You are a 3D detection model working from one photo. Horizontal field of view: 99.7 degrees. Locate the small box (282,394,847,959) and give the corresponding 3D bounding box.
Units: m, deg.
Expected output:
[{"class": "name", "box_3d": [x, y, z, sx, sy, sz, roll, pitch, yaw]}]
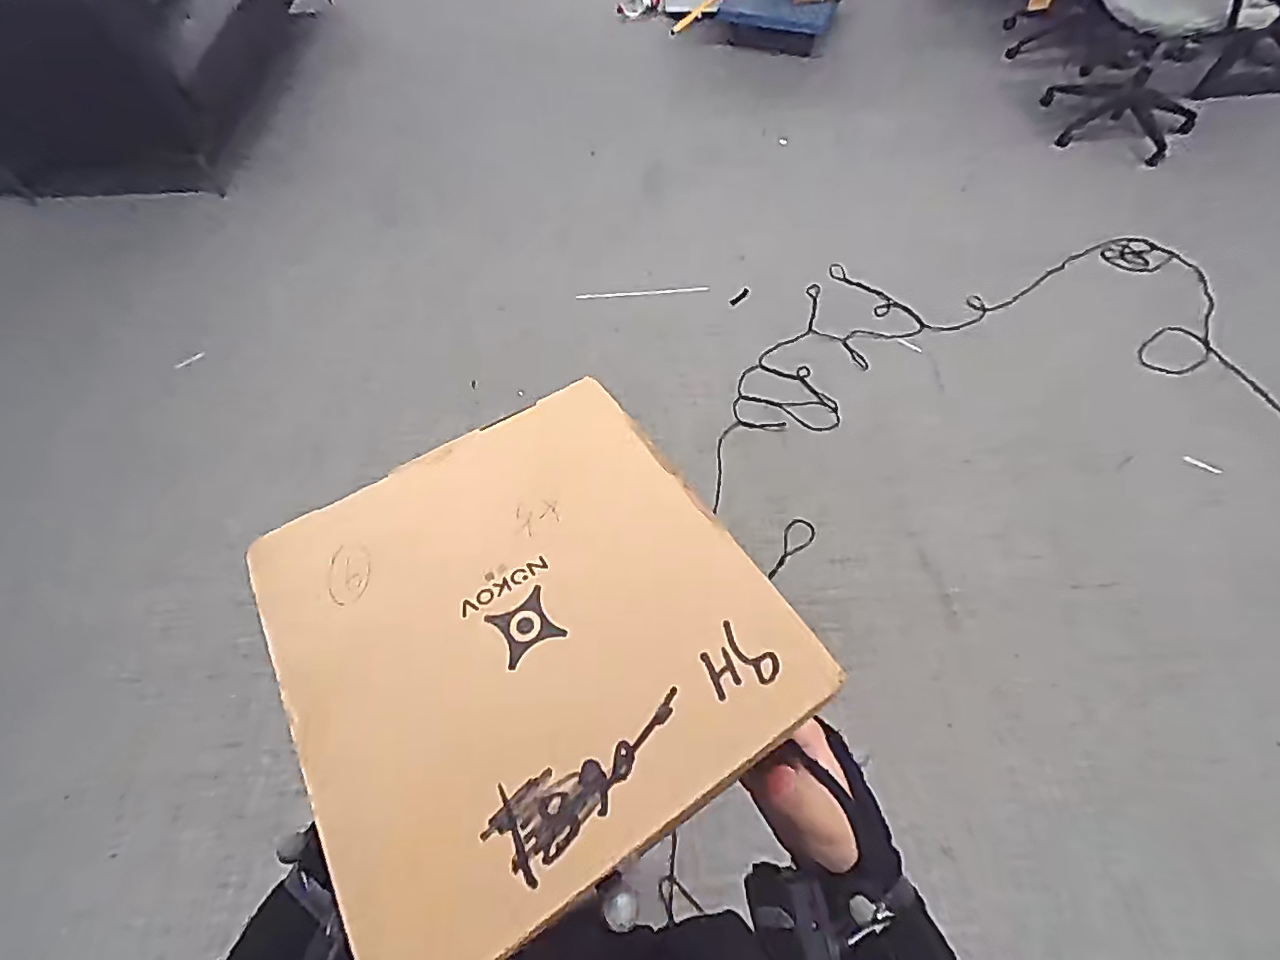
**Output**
[{"class": "small box", "box_3d": [-0.035, 0.096, 0.276, 0.168, 0.176, 0.179, -31, 60, -15]}]
